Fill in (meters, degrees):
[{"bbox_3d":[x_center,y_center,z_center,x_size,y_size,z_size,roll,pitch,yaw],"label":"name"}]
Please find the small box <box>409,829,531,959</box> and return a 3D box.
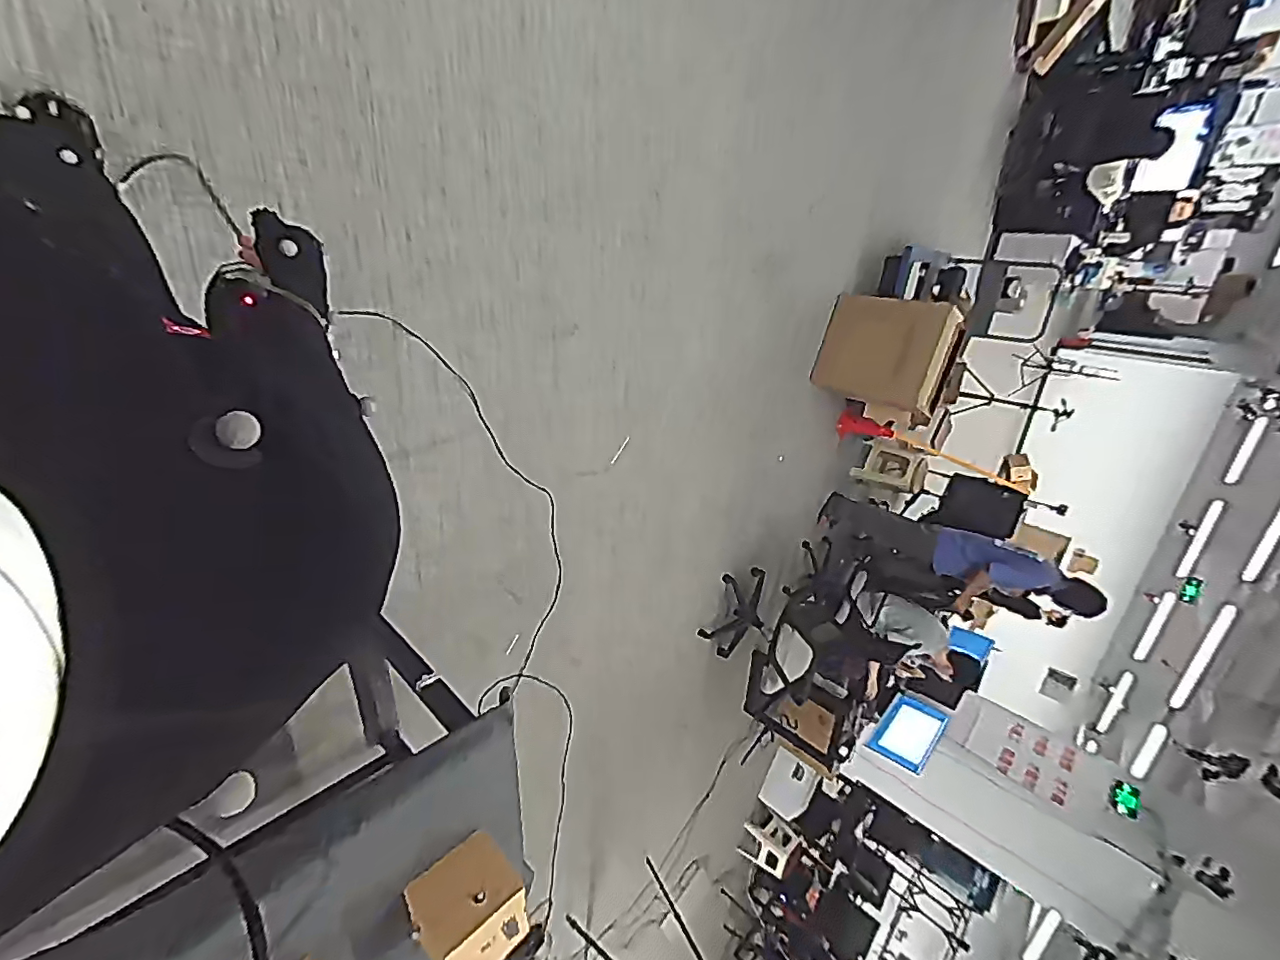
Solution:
[{"bbox_3d":[-0.348,0.879,1.117,0.179,0.176,0.168,-22,124,-40],"label":"small box"}]
